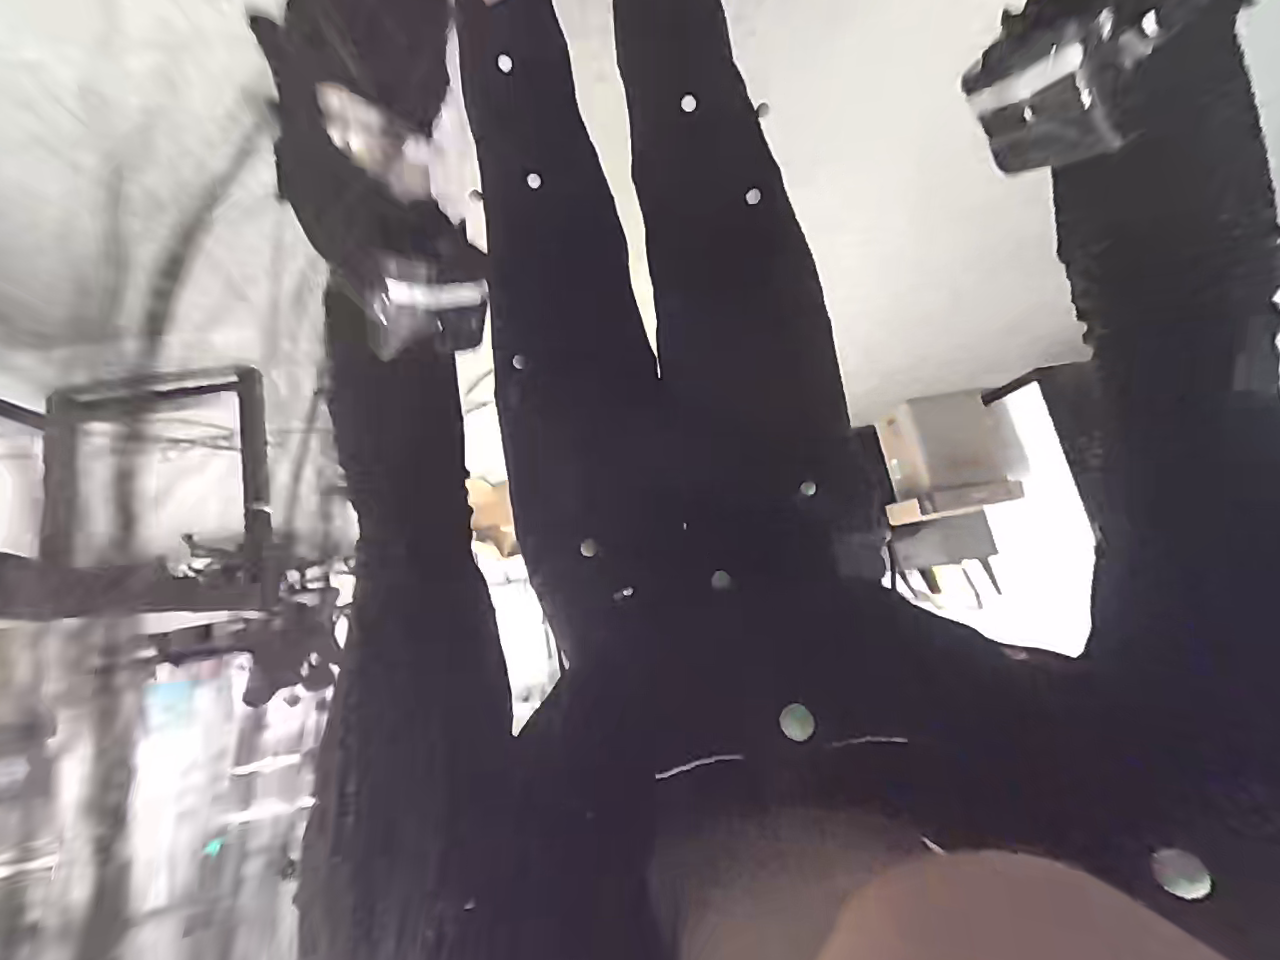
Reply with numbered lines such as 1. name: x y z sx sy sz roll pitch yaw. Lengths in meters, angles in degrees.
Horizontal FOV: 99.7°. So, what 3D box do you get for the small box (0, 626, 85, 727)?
1. small box: -1.180 0.364 0.985 0.179 0.176 0.168 -8 168 -9
